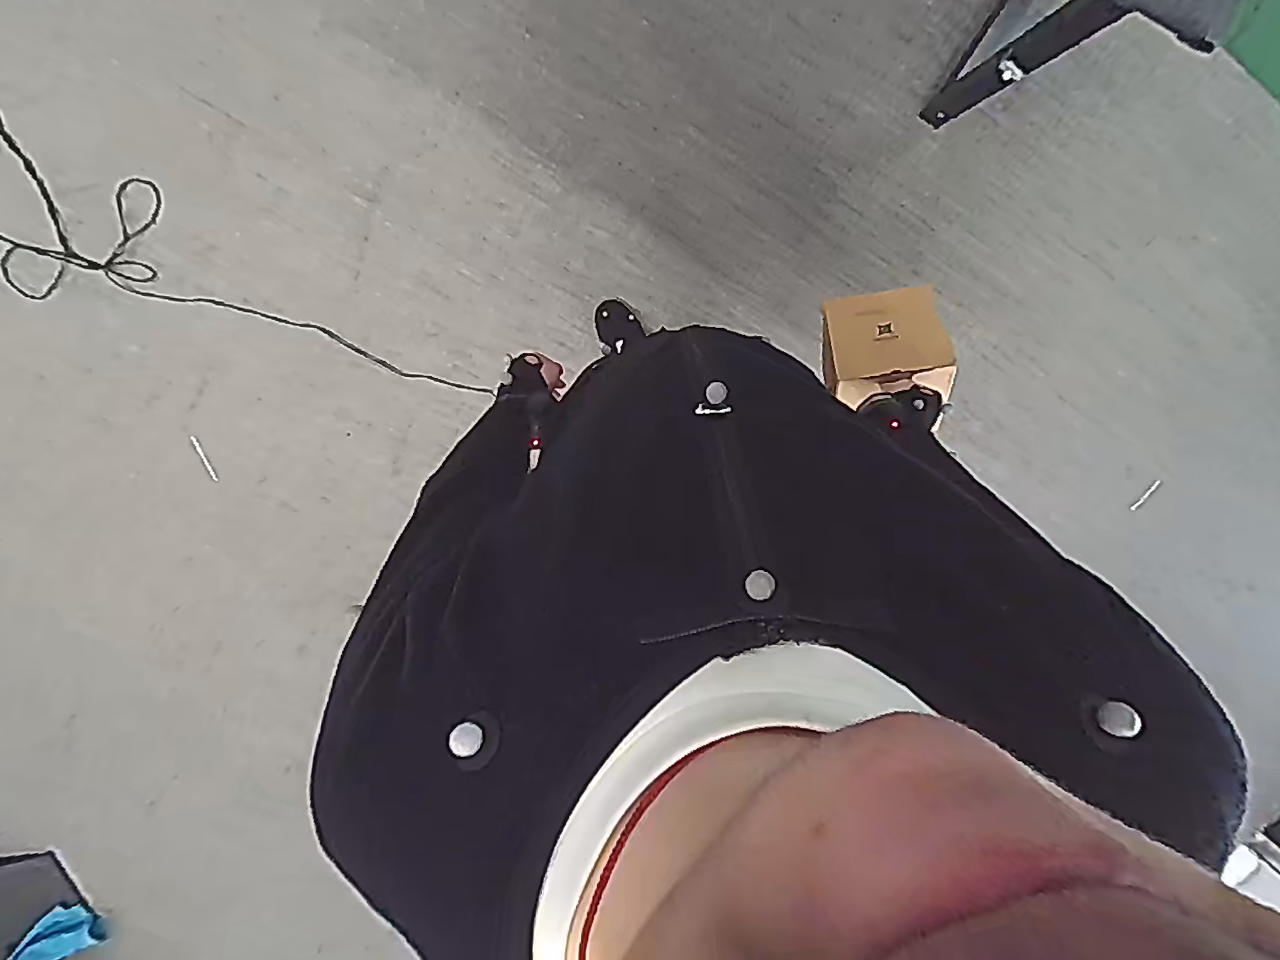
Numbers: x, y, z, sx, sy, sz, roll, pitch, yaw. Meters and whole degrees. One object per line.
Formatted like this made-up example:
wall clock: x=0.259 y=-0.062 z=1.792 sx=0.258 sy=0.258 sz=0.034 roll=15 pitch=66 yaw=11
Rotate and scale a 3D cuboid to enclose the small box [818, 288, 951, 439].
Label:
small box: x=0.390 y=-0.181 z=0.894 sx=0.168 sy=0.179 sz=0.176 roll=-6 pitch=147 yaw=14
